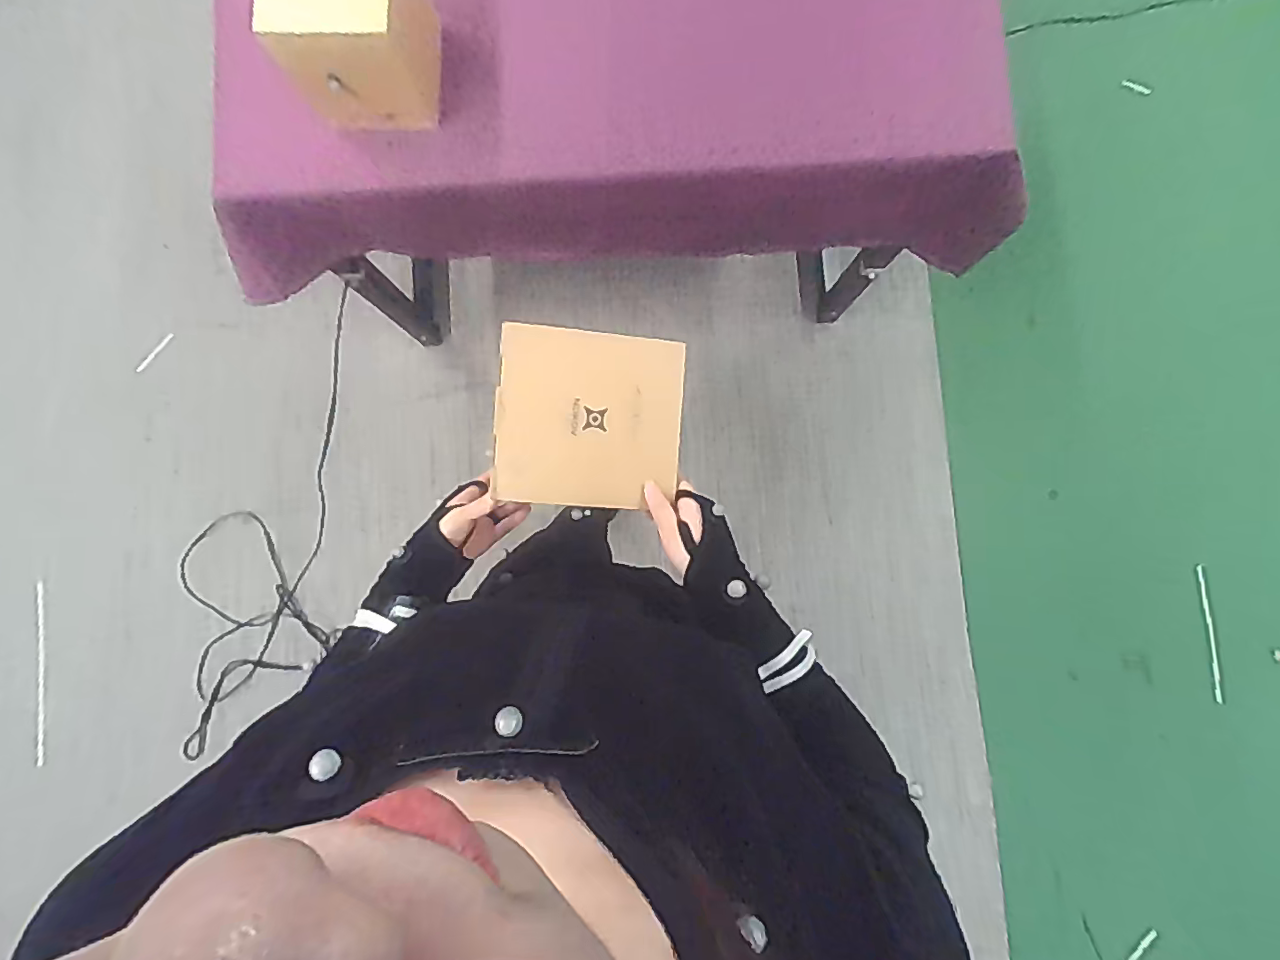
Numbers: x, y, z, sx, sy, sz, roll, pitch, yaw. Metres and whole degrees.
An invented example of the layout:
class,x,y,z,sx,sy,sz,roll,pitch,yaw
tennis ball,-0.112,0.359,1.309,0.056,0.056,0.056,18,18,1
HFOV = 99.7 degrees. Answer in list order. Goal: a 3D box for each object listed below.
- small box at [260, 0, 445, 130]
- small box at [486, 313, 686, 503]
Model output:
class,x,y,z,sx,sy,sz,roll,pitch,yaw
small box,-0.380,-0.617,0.744,0.168,0.176,0.179,0,84,0
small box,-0.060,-0.064,0.584,0.179,0.176,0.168,5,89,-10
